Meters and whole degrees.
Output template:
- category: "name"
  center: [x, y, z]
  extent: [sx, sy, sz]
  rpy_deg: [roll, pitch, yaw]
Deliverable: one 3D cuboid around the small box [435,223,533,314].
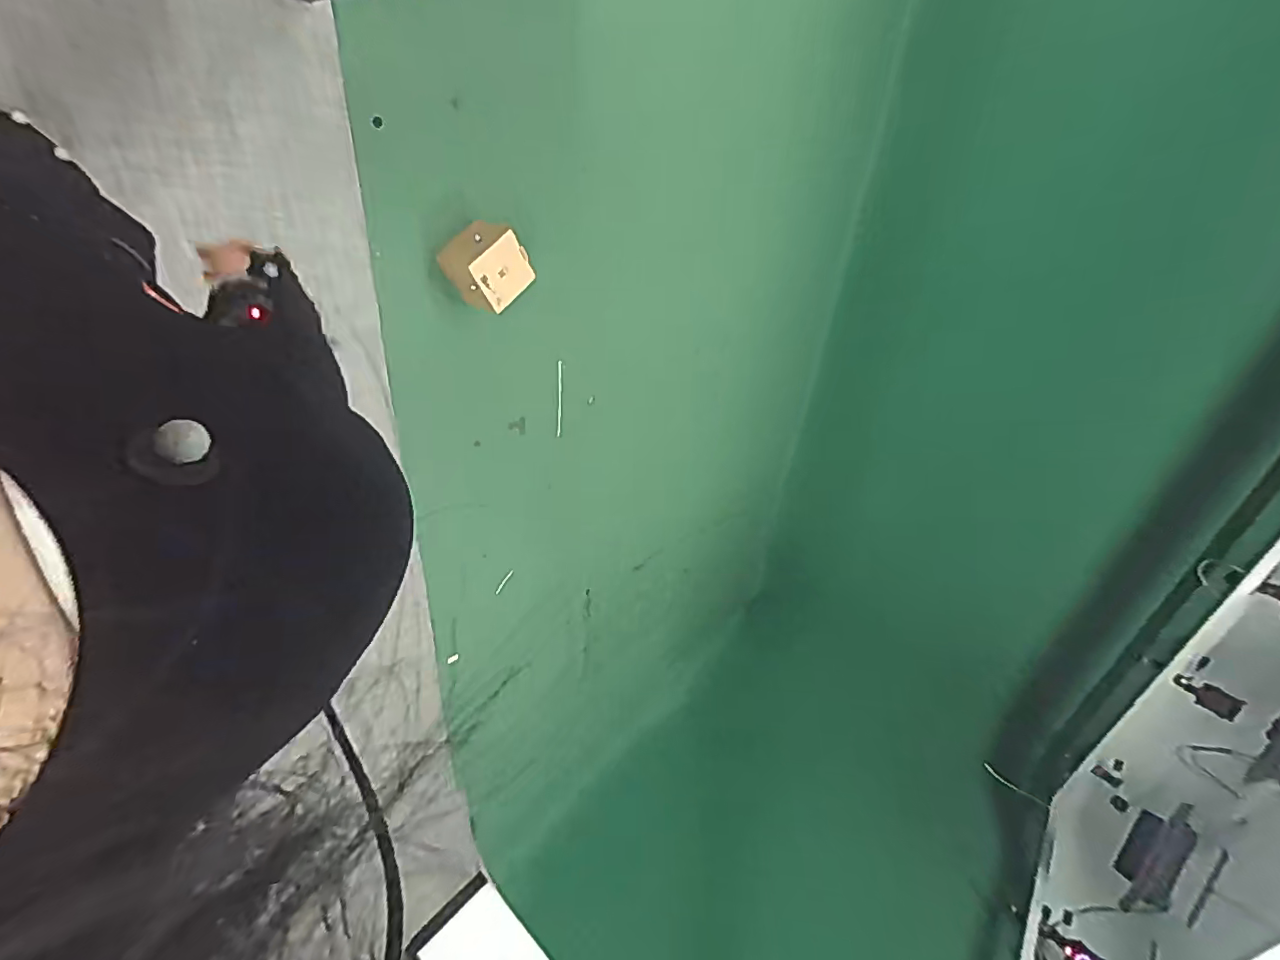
- category: "small box"
  center: [-0.452, -0.617, 1.564]
  extent: [0.179, 0.176, 0.168]
  rpy_deg: [-52, 147, -17]
